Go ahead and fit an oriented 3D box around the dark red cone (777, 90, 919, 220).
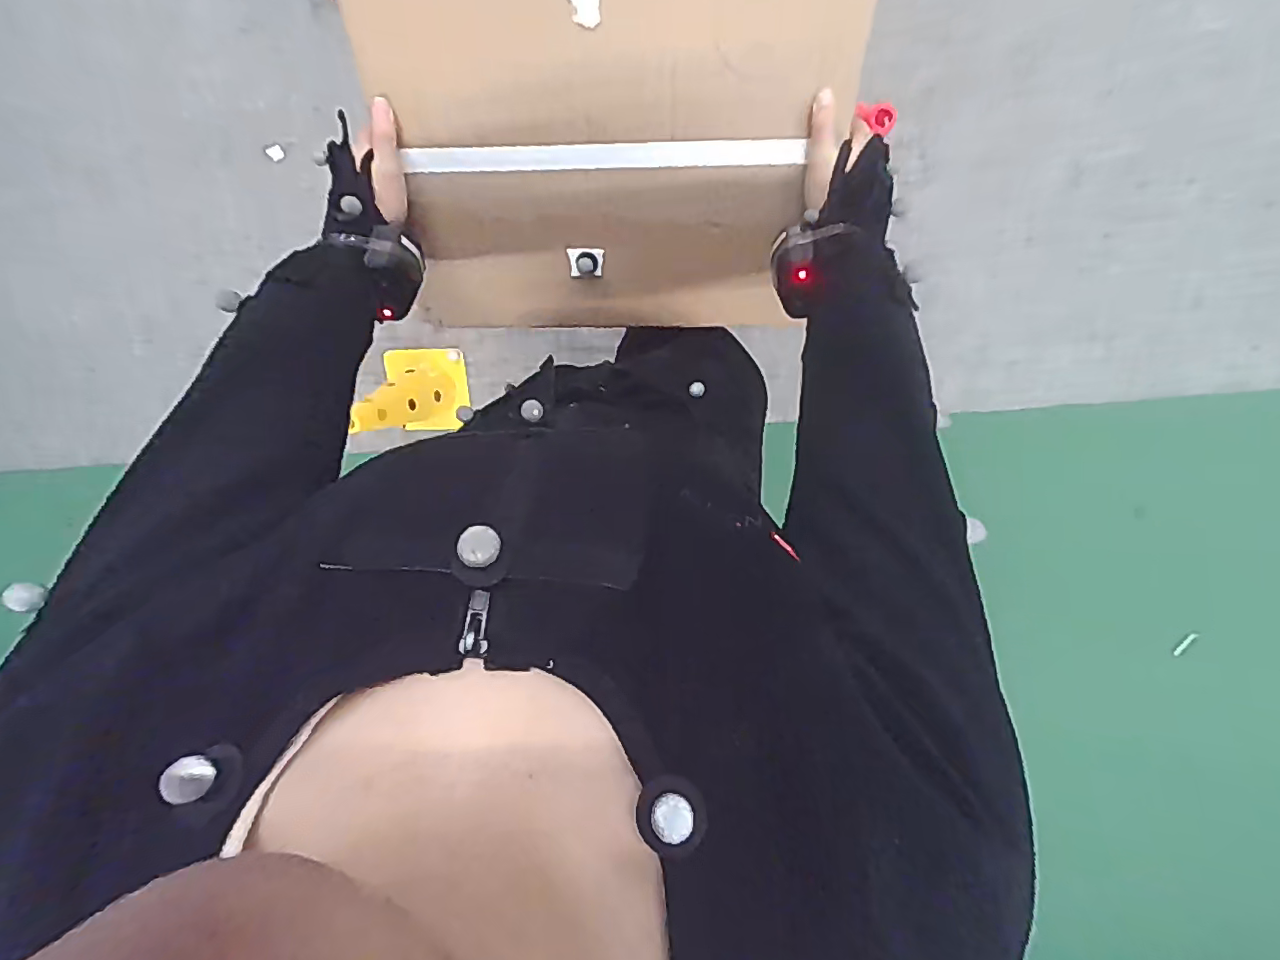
[{"bbox_3d":[0.369,-0.580,0.922,0.202,0.394,0.201,-10,111,7],"label":"dark red cone"}]
